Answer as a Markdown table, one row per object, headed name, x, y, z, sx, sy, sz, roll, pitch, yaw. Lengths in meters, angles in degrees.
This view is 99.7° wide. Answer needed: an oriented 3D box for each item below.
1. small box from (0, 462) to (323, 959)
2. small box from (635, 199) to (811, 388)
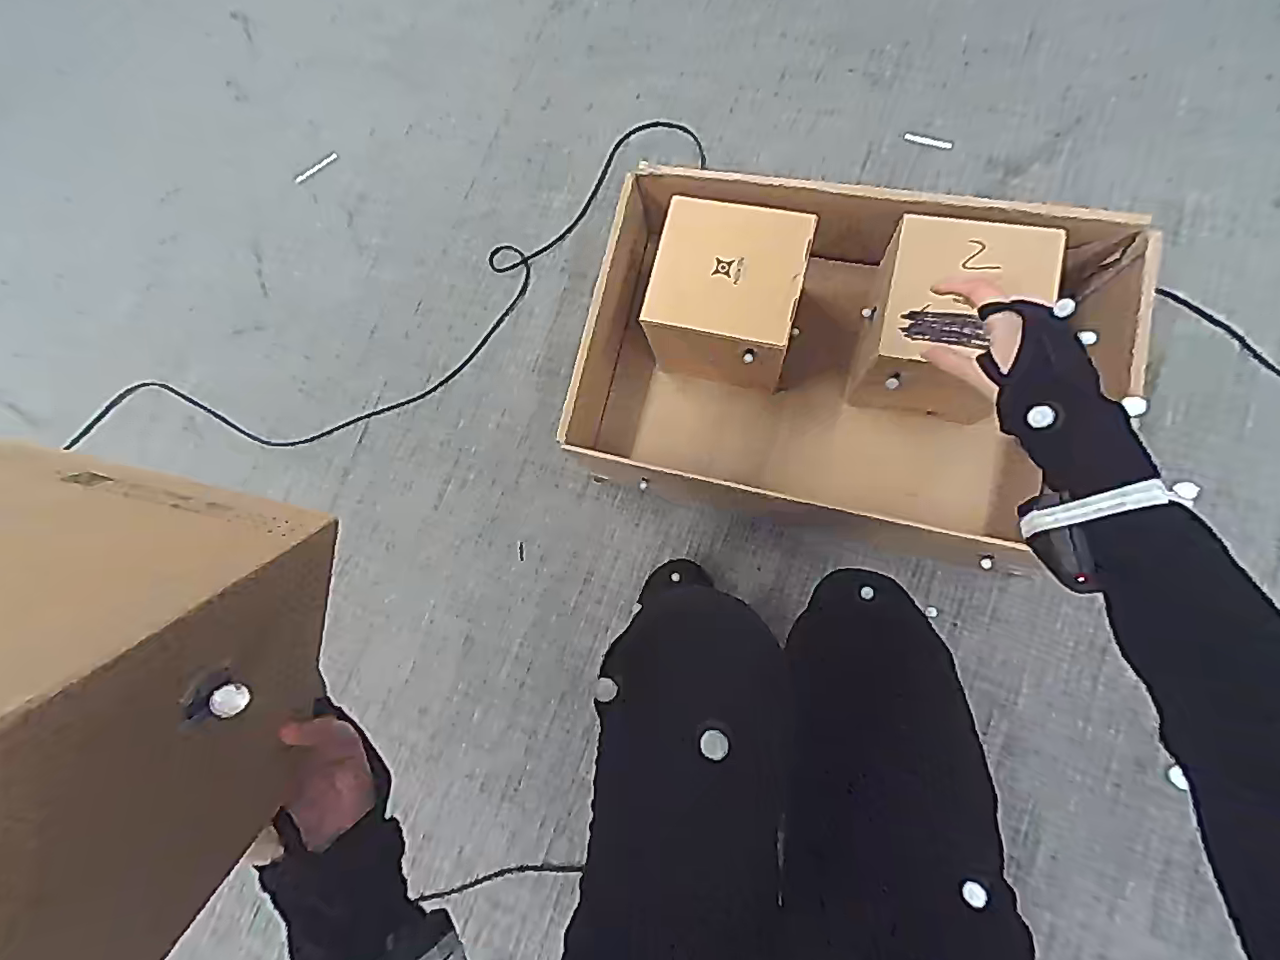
| name | x | y | z | sx | sy | sz | roll | pitch | yaw |
| --- | --- | --- | --- | --- | --- | --- | --- | --- | --- |
| small box | -0.263 | 0.105 | 0.225 | 0.168 | 0.176 | 0.179 | 15 | 105 | -4 |
| small box | 0.107 | -0.233 | 0.709 | 0.179 | 0.176 | 0.168 | 13 | 84 | 10 |
